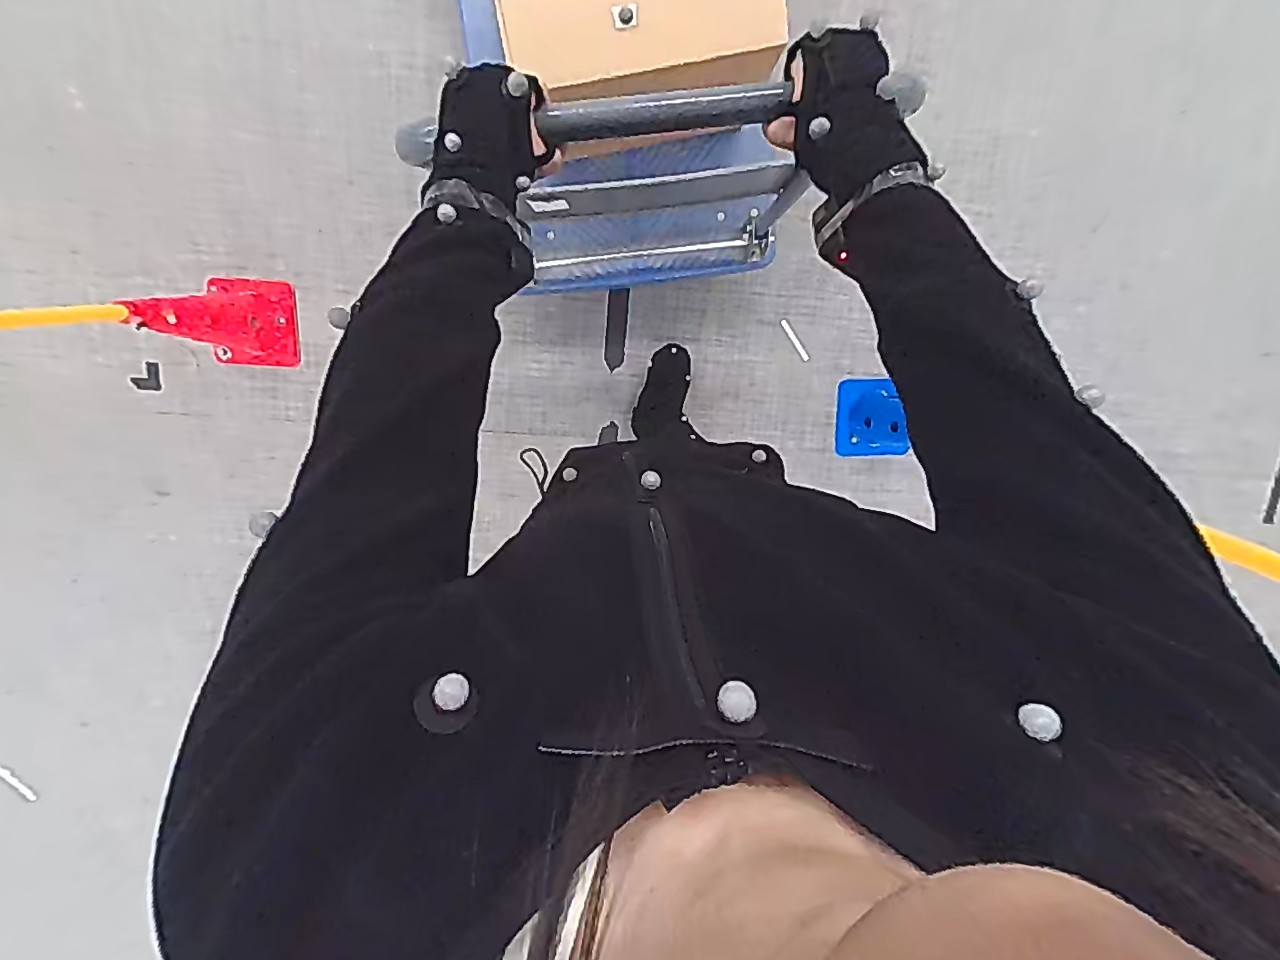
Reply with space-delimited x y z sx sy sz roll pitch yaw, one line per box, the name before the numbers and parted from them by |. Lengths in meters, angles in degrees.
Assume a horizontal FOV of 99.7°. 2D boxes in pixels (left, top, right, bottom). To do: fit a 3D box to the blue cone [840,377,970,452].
blue cone | 0.617 -0.134 1.234 0.193 0.380 0.192 0 102 -3
